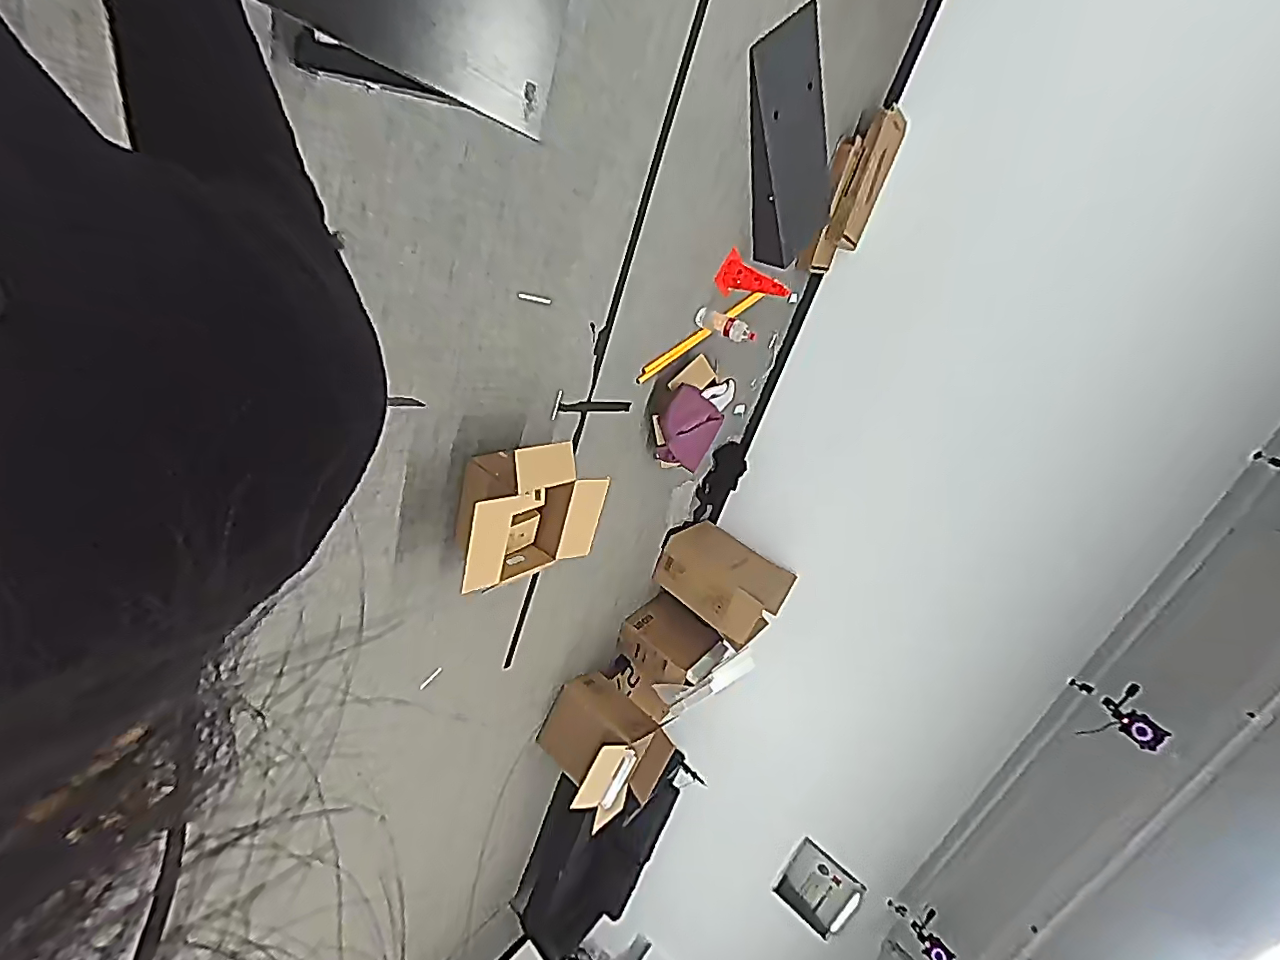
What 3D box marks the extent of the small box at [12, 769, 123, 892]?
[{"bbox_3d":[-1.501,0.907,1.421,0.179,0.176,0.168,-8,122,-53],"label":"small box"}]
